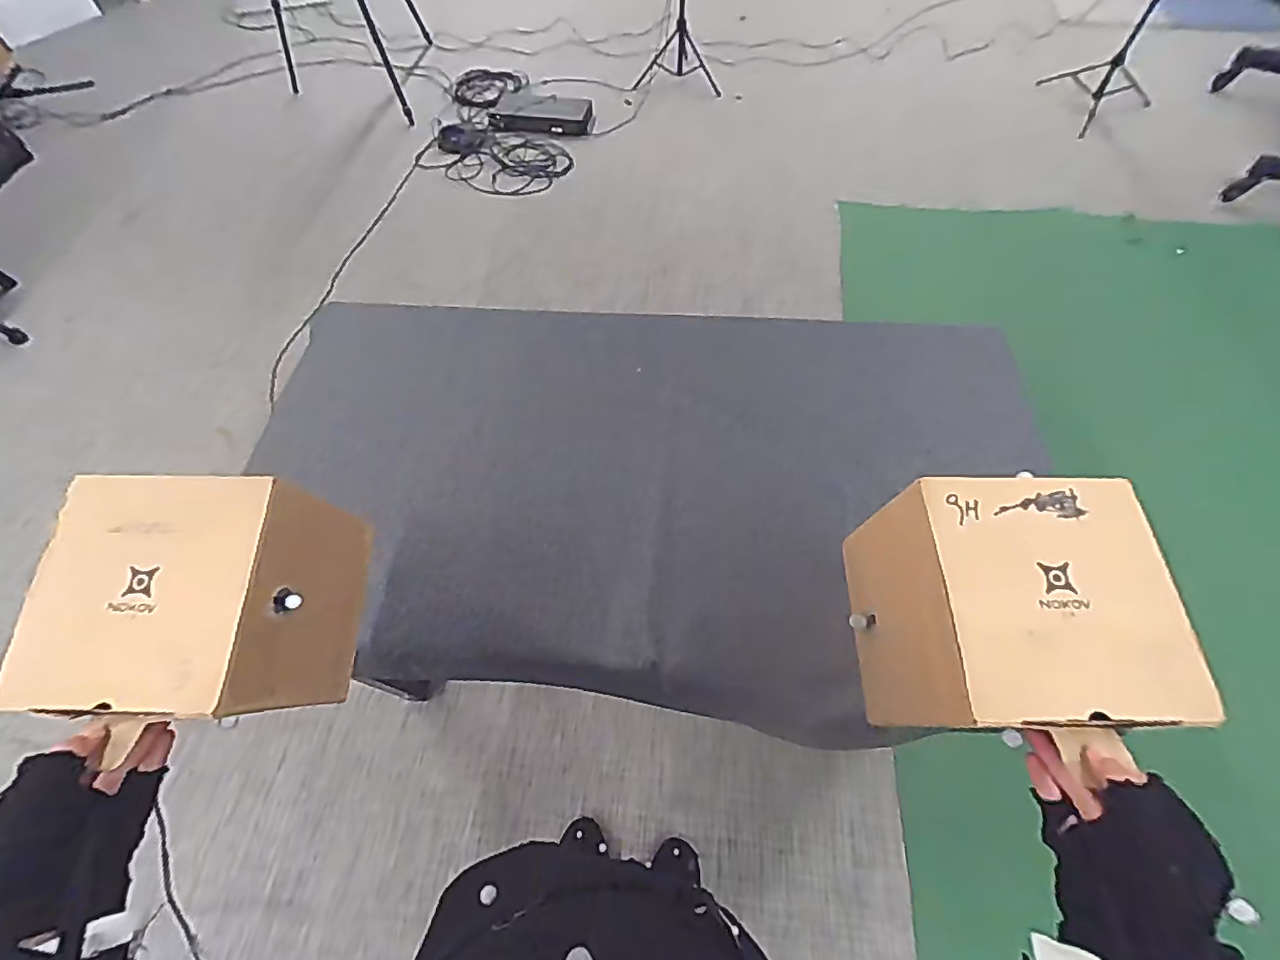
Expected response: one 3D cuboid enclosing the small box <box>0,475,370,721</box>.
[{"bbox_3d":[-0.363,0.104,0.469,0.168,0.176,0.179,0,71,1],"label":"small box"}]
